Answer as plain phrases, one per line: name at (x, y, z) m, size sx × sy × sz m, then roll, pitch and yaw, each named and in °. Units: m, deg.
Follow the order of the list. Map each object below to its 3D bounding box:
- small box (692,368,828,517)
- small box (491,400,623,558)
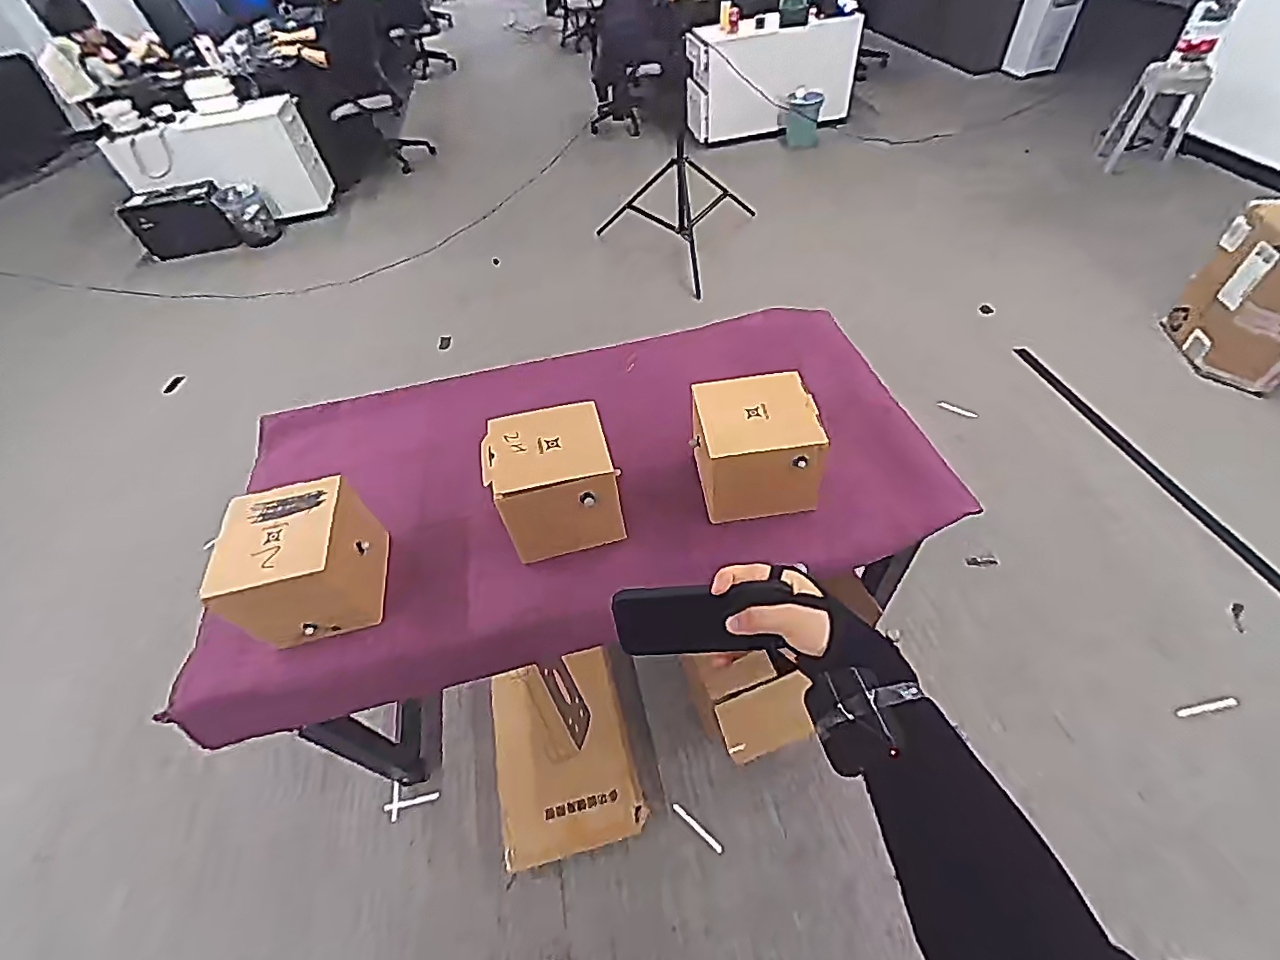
small box at (0.185, -0.056, 0.883) m, size 0.179 × 0.176 × 0.168 m, roll -8°, pitch 50°, yaw 0°
small box at (-0.128, 0.001, 0.871) m, size 0.179 × 0.176 × 0.168 m, roll -14°, pitch 48°, yaw -5°
